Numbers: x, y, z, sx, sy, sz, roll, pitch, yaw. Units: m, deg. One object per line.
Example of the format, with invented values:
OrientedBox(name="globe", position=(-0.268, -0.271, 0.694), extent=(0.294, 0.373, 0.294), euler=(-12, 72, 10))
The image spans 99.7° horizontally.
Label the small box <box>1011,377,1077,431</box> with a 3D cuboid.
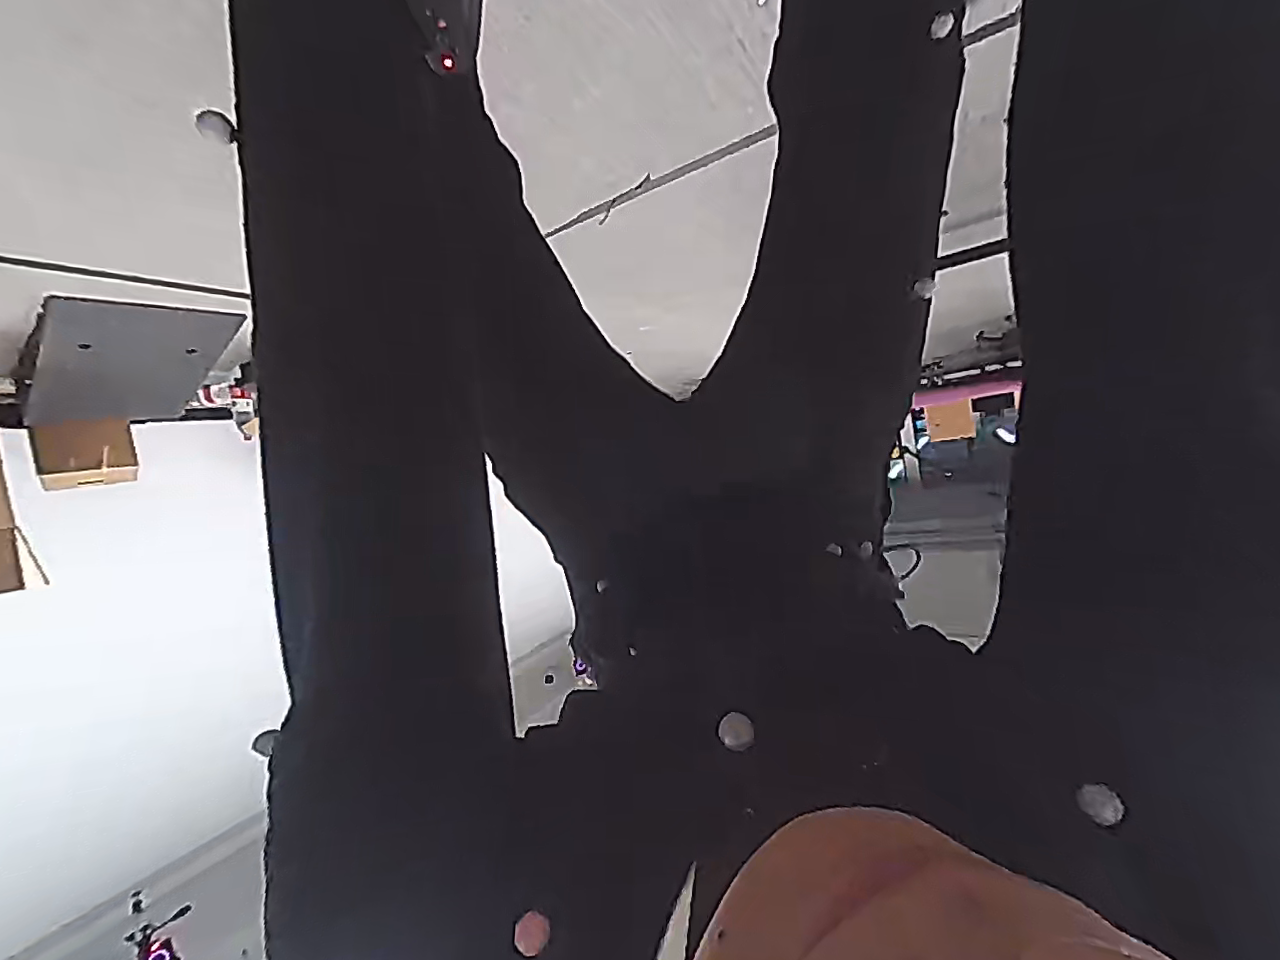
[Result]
OrientedBox(name="small box", position=(1.472, -0.278, 1.977), extent=(0.168, 0.176, 0.179), euler=(-9, -179, 31))
